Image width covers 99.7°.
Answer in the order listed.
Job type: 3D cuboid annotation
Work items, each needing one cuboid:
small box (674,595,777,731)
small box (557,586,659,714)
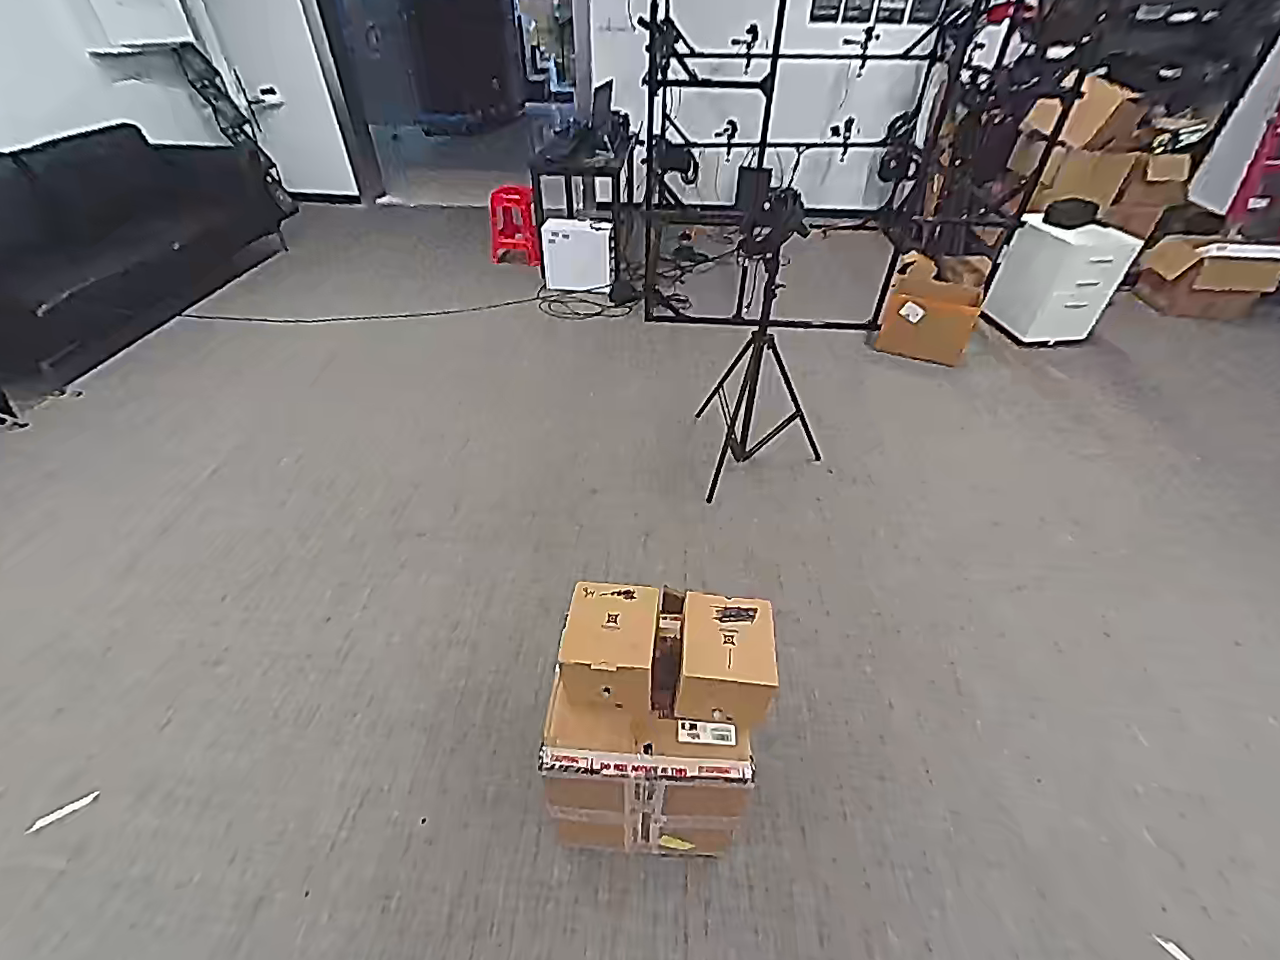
[{"bbox_3d":[0.156,0.348,1.029,0.168,0.176,0.179,6,43,3],"label":"small box"},{"bbox_3d":[-0.053,0.329,1.043,0.168,0.176,0.179,4,43,6],"label":"small box"}]
